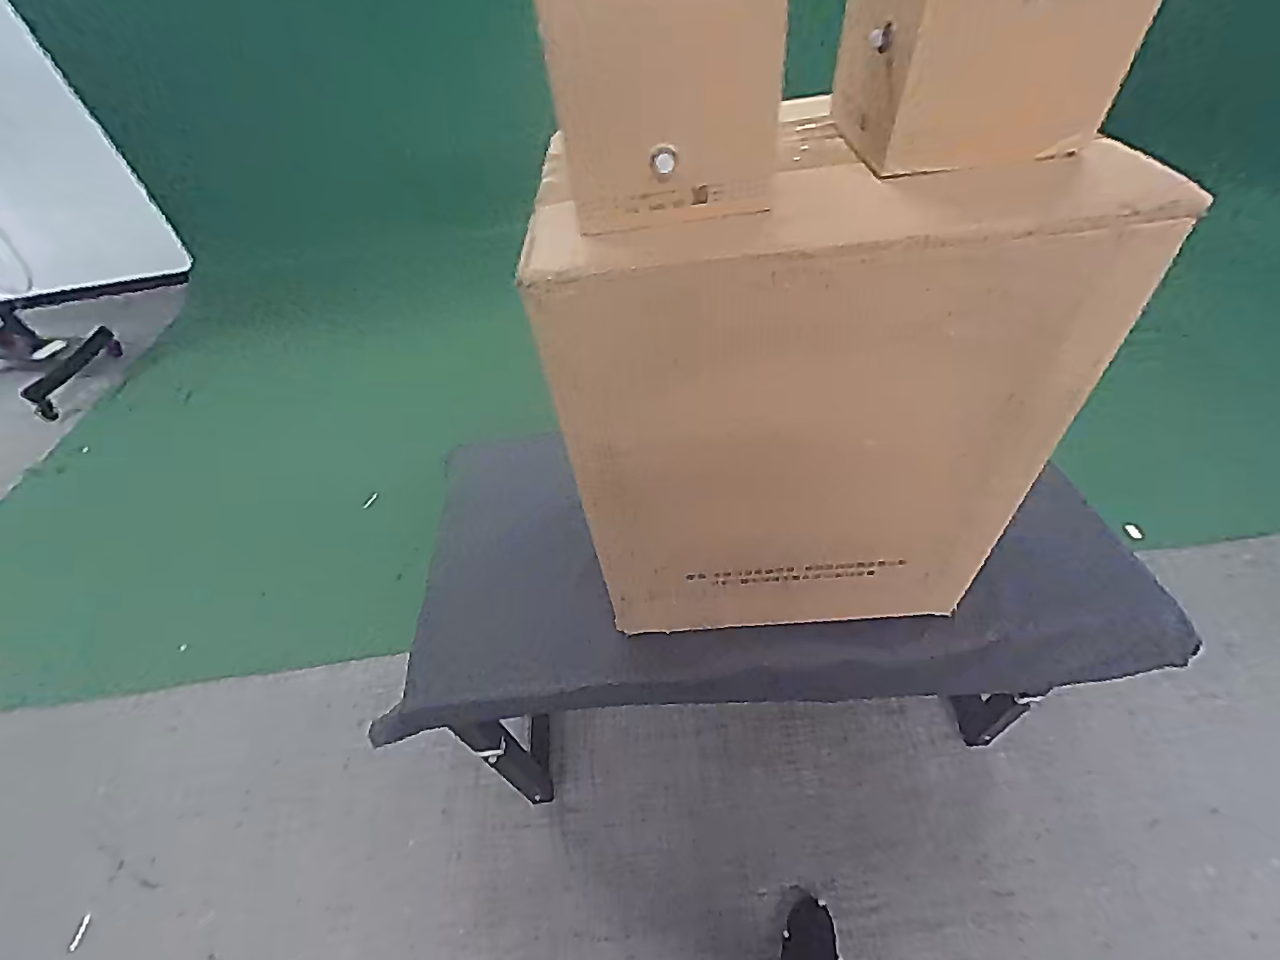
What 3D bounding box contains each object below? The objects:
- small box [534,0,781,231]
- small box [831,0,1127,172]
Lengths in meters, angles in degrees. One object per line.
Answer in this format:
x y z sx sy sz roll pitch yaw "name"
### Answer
0.015 -0.337 0.458 0.168 0.176 0.179 -6 50 4 "small box"
0.277 -0.384 0.464 0.179 0.176 0.168 -4 50 1 "small box"
